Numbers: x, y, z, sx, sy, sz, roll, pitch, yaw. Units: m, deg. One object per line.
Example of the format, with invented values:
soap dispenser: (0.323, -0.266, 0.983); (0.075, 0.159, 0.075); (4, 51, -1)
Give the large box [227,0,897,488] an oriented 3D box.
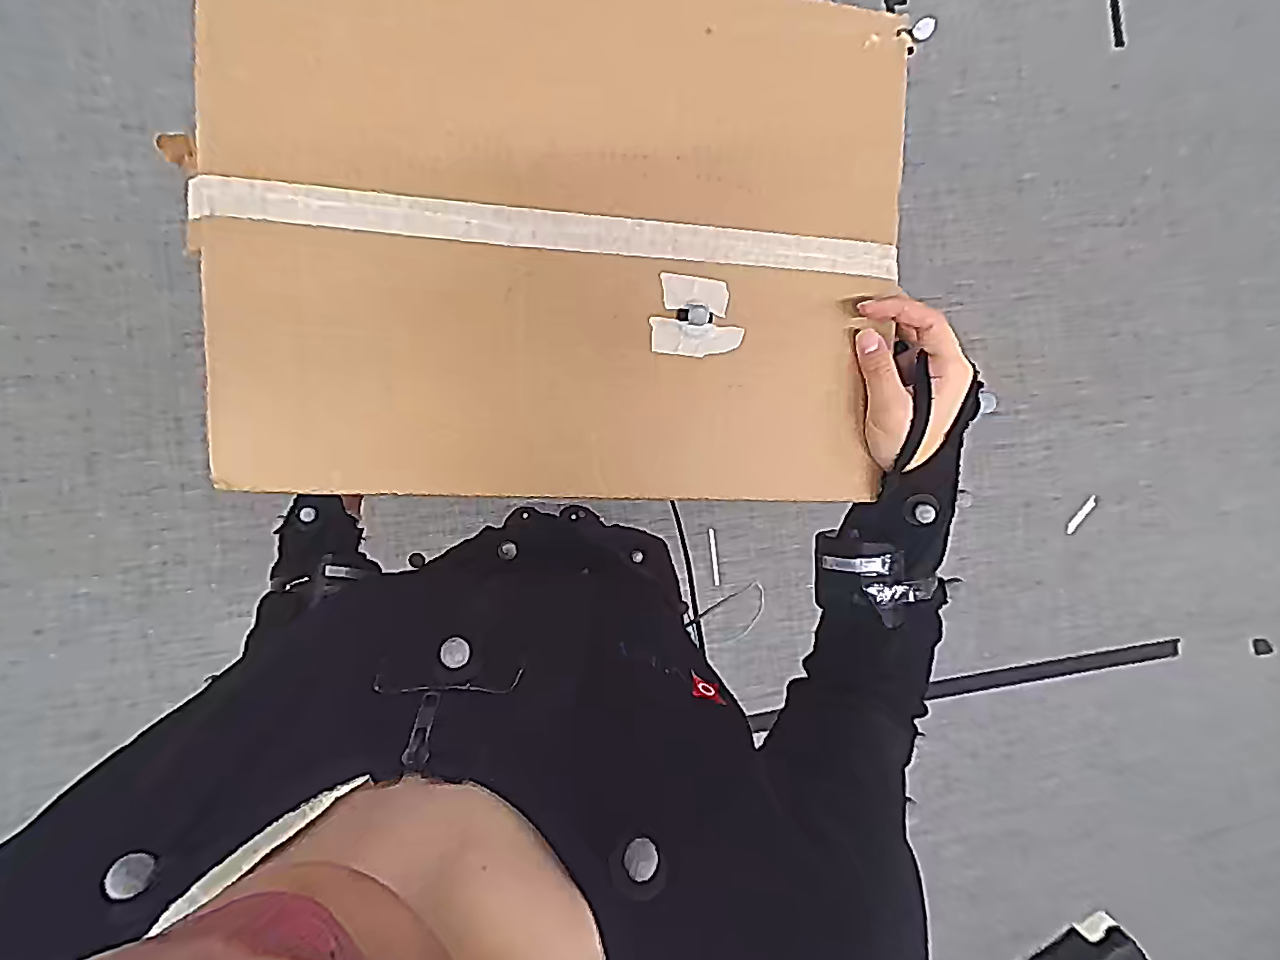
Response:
large box: (-0.056, -0.161, 0.475); (0.408, 0.320, 0.320); (1, 95, -11)
